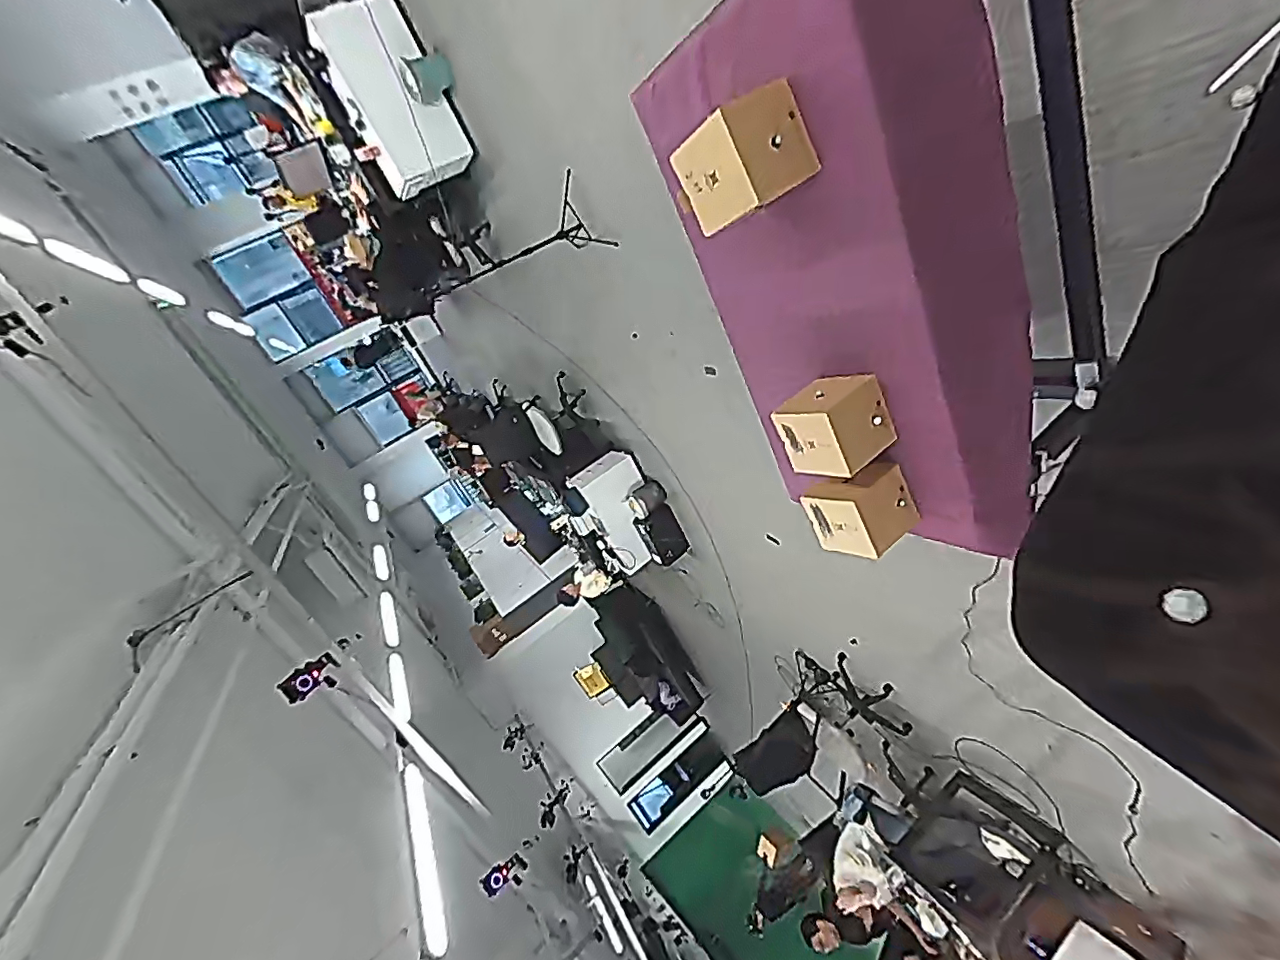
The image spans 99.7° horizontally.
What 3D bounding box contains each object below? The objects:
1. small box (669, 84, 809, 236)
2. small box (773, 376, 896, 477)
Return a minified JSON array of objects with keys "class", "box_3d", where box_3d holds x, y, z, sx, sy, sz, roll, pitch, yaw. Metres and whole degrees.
[{"class":"small box","box_3d":[0.193,-0.599,1.022,0.168,0.176,0.179,60,162,-17]},{"class":"small box","box_3d":[0.447,-0.127,1.246,0.168,0.176,0.179,60,161,-19]}]
